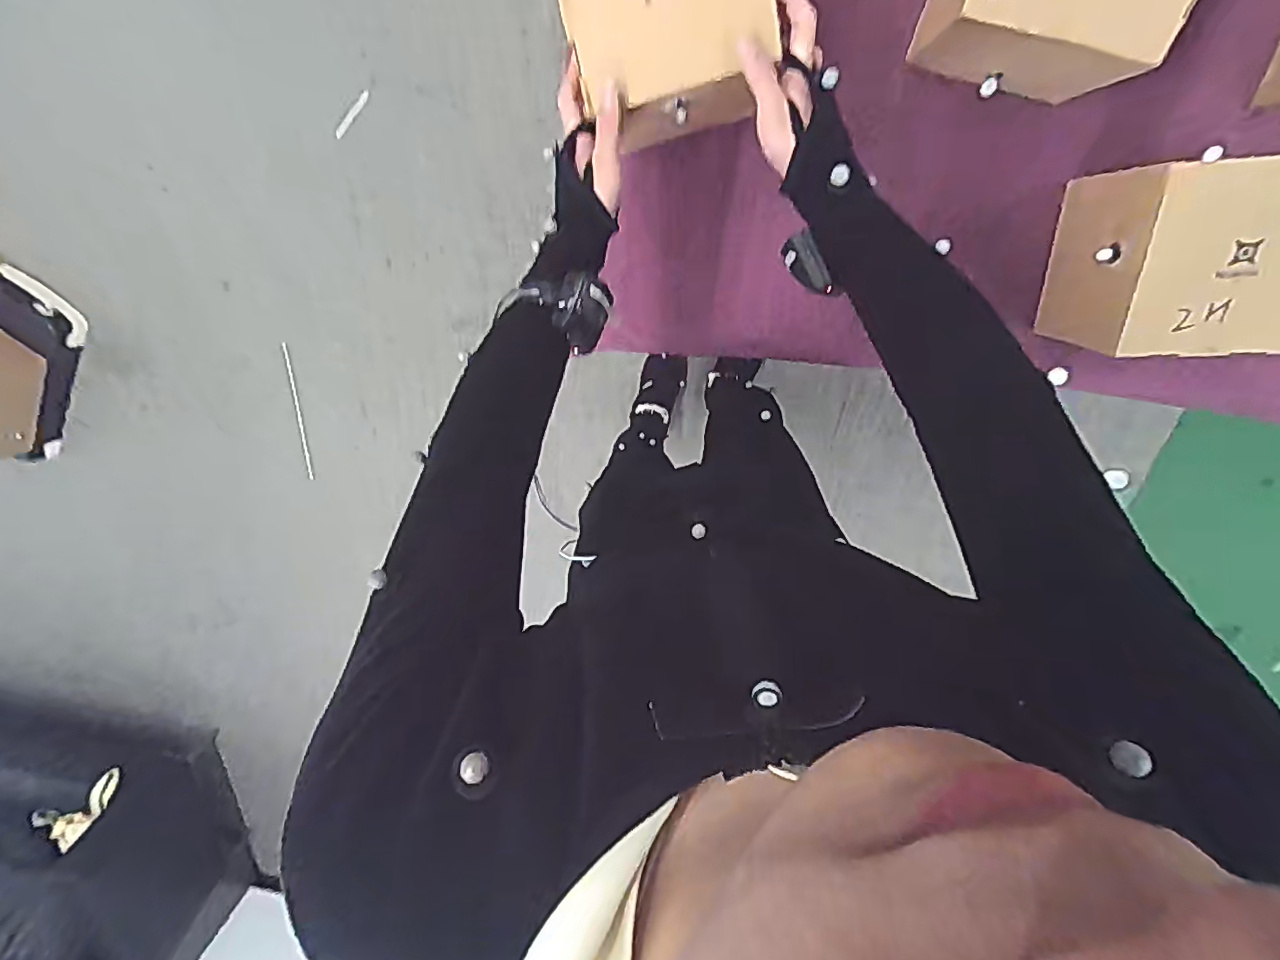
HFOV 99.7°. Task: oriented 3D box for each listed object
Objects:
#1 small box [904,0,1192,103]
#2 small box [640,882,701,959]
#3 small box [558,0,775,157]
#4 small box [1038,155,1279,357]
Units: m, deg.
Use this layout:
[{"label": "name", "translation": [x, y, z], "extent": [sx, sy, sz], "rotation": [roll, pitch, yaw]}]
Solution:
[{"label": "small box", "translation": [0.381, -0.472, 0.497], "extent": [0.179, 0.176, 0.168], "rotation": [16, 115, 1]}, {"label": "small box", "translation": [0.106, 1.506, 1.818], "extent": [0.168, 0.176, 0.179], "rotation": [12, 115, 5]}, {"label": "small box", "translation": [0.029, -0.436, 0.523], "extent": [0.179, 0.176, 0.168], "rotation": [-9, 109, 12]}, {"label": "small box", "translation": [0.567, -0.233, 0.575], "extent": [0.168, 0.176, 0.179], "rotation": [1, 114, 10]}]
